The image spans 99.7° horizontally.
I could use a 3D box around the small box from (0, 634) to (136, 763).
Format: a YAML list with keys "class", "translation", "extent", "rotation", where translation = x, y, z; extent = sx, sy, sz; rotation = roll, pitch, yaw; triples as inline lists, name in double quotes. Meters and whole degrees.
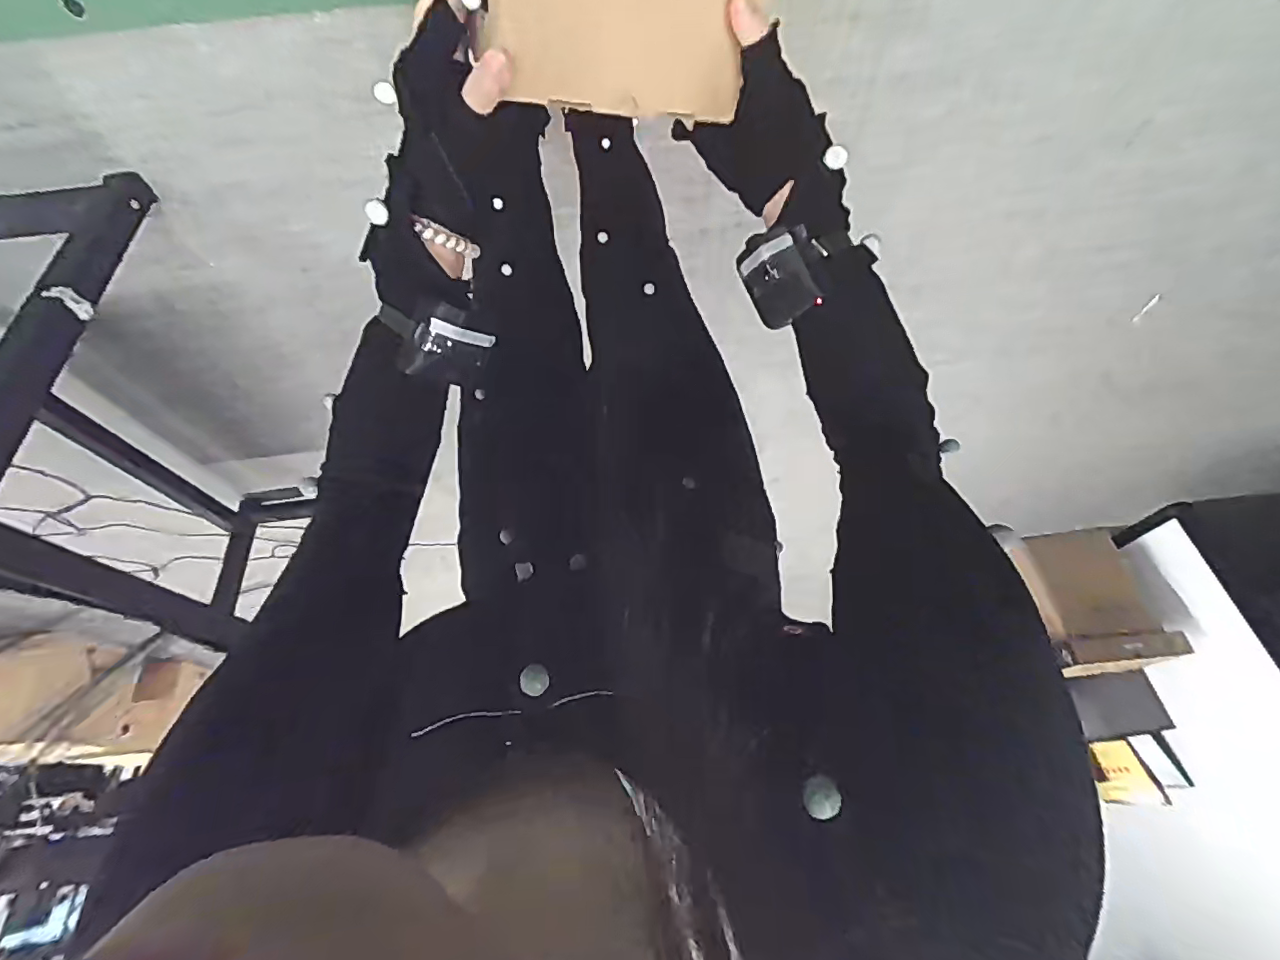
- class: "small box"
  translation: [-1.015, 0.367, 0.904]
  extent: [0.179, 0.176, 0.168]
  rotation: [-7, 151, 0]

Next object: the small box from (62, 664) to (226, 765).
- class: "small box"
  translation: [-1.002, 0.484, 1.116]
  extent: [0.179, 0.176, 0.168]
  rotation: [-6, 150, -1]

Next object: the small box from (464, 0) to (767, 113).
- class: "small box"
  translation: [-0.021, -0.360, 0.328]
  extent: [0.168, 0.176, 0.179]
  rotation: [-11, 147, -22]
